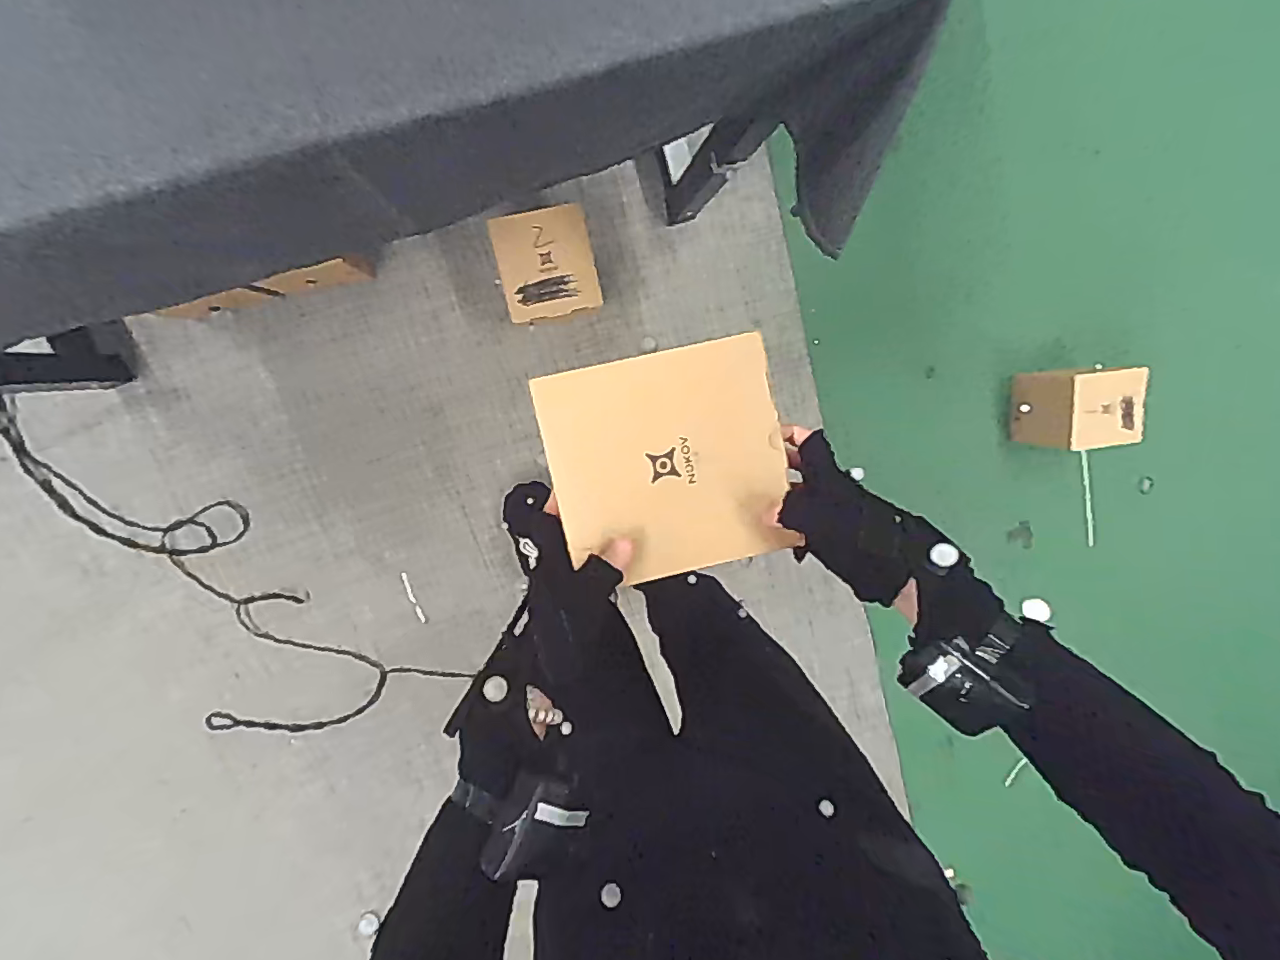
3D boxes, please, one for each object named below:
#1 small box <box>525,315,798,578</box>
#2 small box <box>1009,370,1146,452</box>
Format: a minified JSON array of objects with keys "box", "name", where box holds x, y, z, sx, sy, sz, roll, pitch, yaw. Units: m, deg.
[{"box":[0.012,-0.029,0.472,0.179,0.176,0.168,-13,96,-5],"name":"small box"},{"box":[0.998,-0.164,1.245,0.179,0.176,0.168,-7,102,-7],"name":"small box"}]
